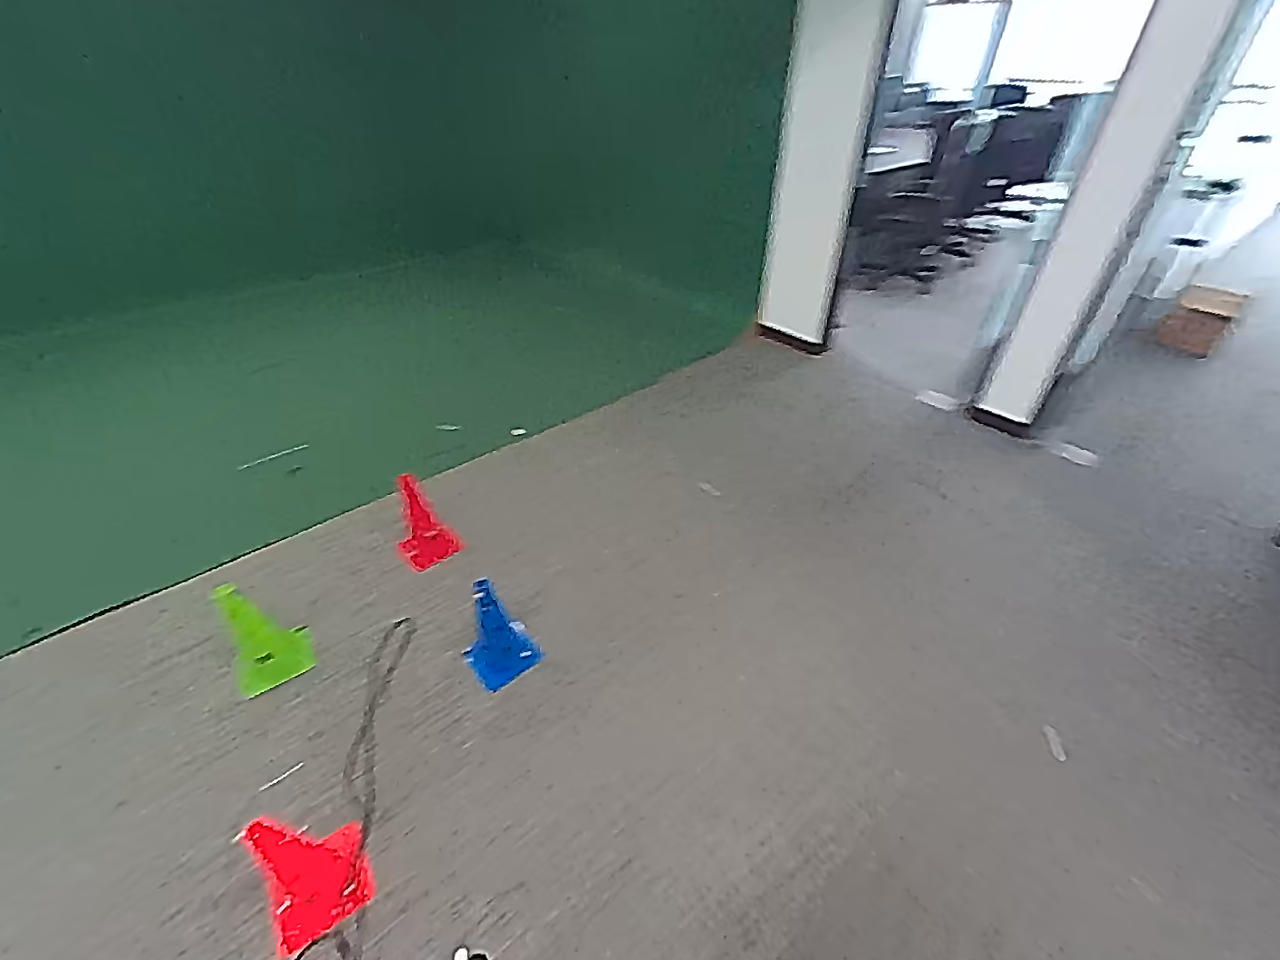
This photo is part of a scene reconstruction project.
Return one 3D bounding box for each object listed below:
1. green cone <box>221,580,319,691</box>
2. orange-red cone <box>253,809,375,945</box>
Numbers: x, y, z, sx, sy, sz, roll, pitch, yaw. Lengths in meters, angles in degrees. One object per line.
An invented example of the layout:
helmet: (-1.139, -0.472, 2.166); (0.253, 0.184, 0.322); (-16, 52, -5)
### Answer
green cone: (-1.169, 0.433, 1.643); (0.200, 0.368, 0.202); (-26, 46, -27)
orange-red cone: (-0.747, 0.808, 1.176); (0.198, 0.360, 0.199); (-22, 42, -26)
